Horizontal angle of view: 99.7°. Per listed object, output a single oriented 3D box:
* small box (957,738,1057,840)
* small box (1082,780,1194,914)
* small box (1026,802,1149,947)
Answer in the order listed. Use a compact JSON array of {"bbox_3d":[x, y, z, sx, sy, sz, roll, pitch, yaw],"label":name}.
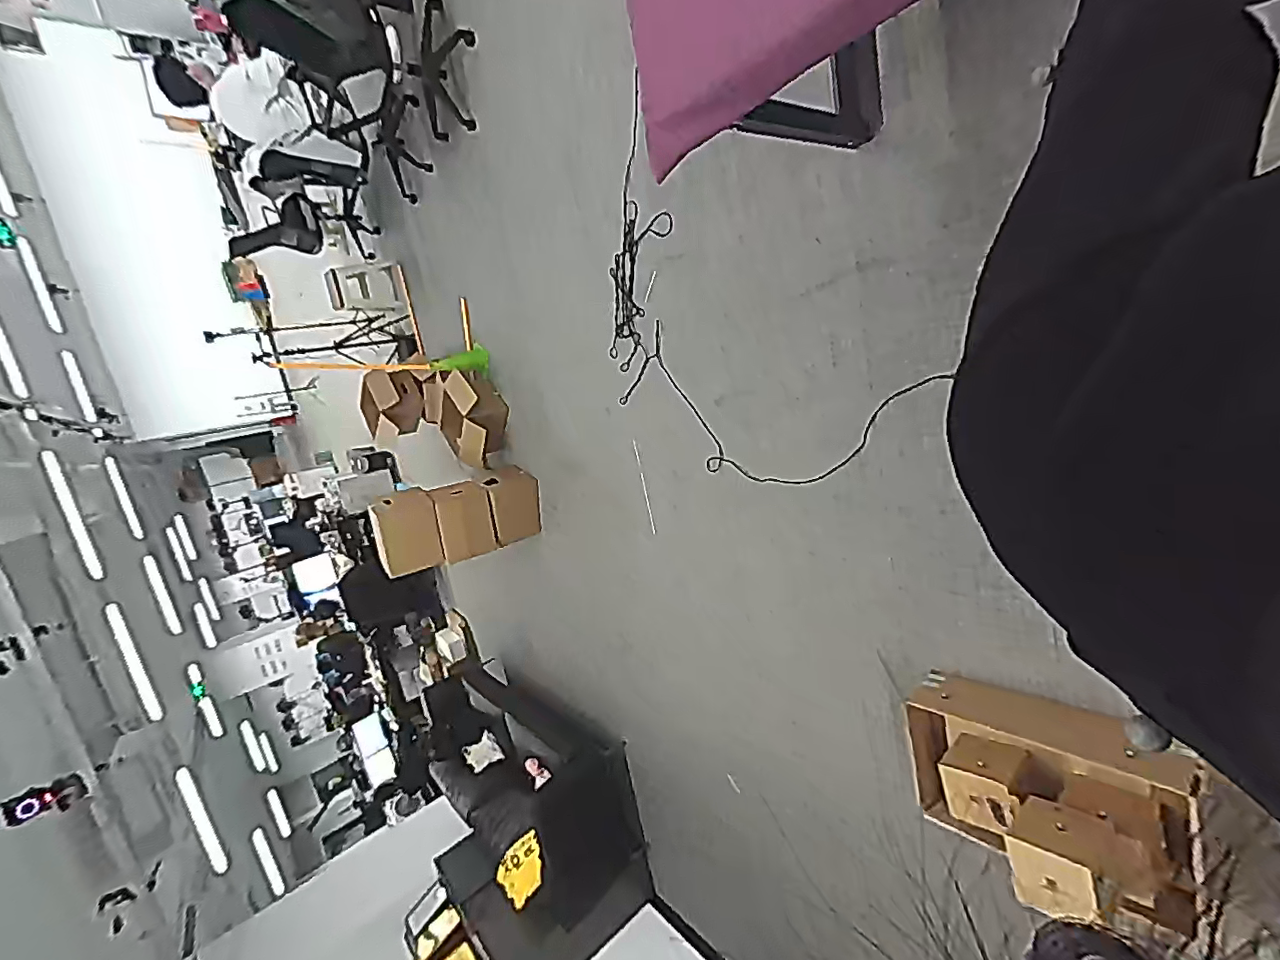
[{"bbox_3d":[1.024,0.850,1.501,0.179,0.176,0.168,-11,96,55],"label":"small box"},{"bbox_3d":[1.182,0.858,1.288,0.179,0.176,0.168,-5,100,57],"label":"small box"},{"bbox_3d":[1.021,0.883,1.235,0.168,0.176,0.179,-8,97,57],"label":"small box"}]
